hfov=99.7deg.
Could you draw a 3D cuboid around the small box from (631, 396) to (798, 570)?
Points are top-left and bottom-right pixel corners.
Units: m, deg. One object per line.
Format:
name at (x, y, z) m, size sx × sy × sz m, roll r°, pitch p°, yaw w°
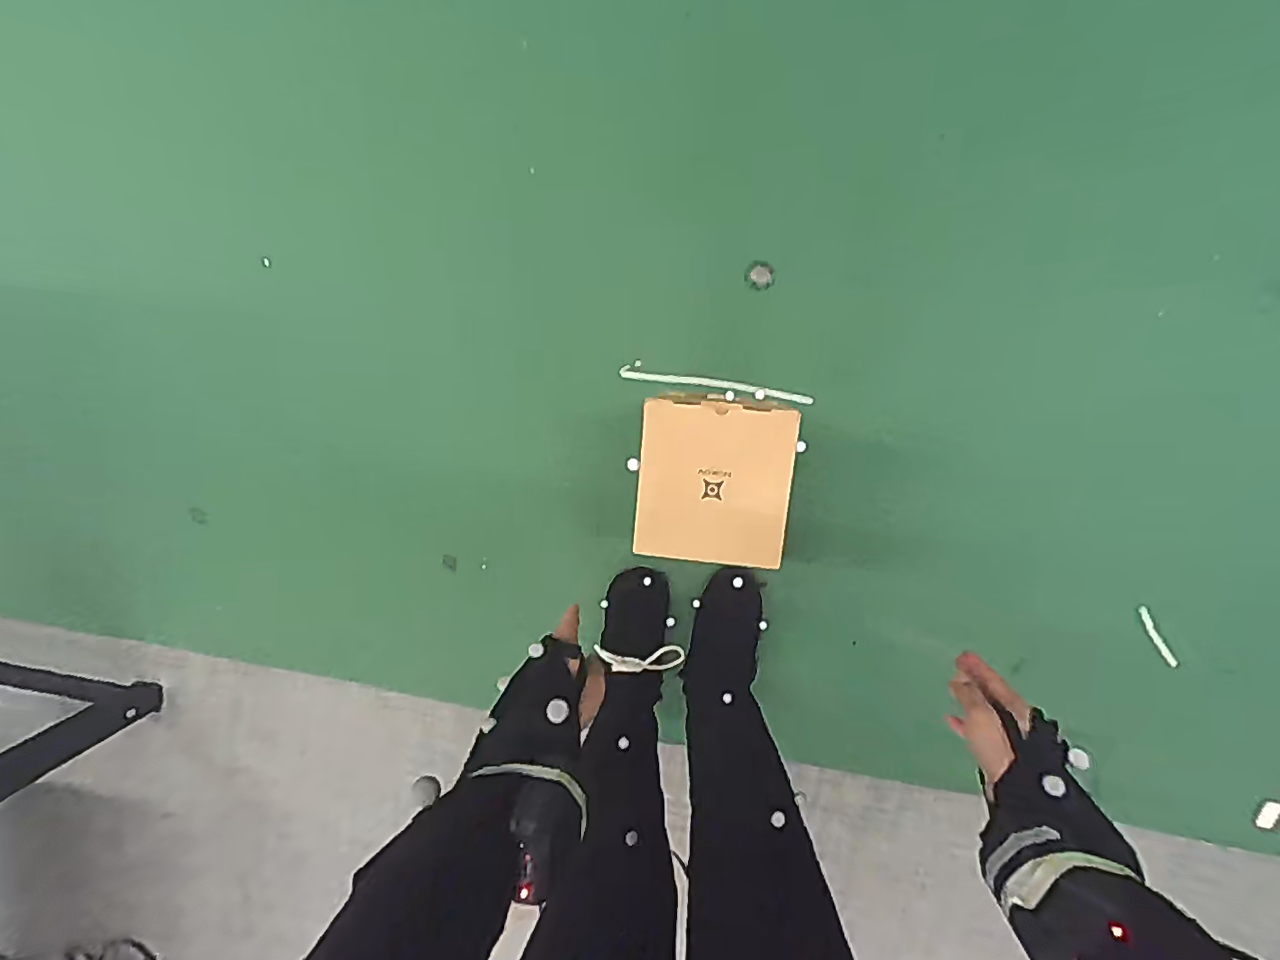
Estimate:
small box at (0.087, -0.008, 0.662) m, size 0.168 × 0.176 × 0.179 m, roll 6°, pitch 100°, yaw 5°
